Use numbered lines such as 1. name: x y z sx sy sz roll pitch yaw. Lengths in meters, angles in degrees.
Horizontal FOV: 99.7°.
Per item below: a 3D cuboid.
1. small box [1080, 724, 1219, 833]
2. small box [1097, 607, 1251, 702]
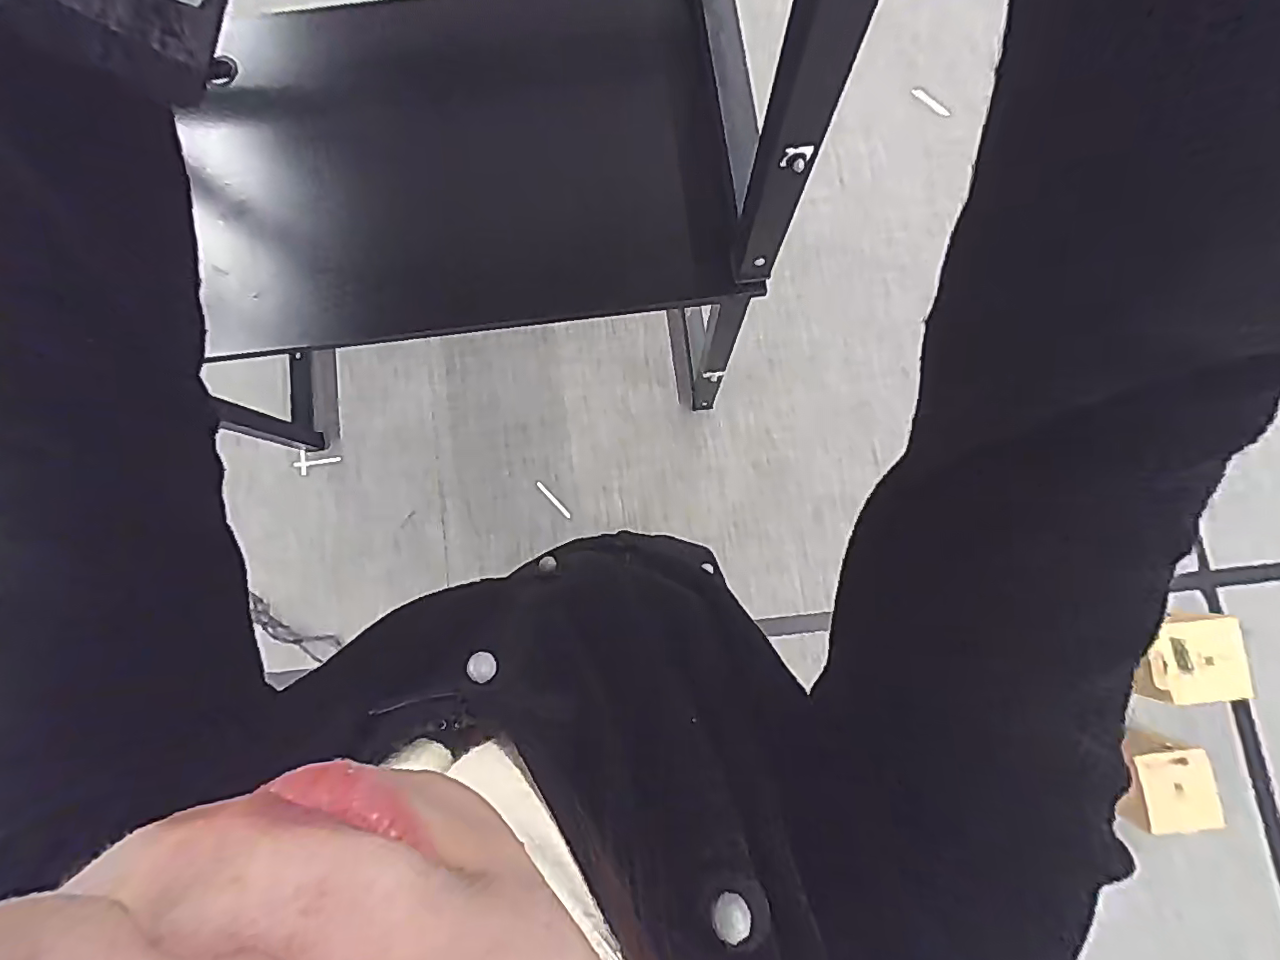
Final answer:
1. small box: 1.234 0.722 1.322 0.168 0.176 0.179 -7 84 0
2. small box: 1.166 0.381 1.201 0.179 0.176 0.168 -6 84 -1
